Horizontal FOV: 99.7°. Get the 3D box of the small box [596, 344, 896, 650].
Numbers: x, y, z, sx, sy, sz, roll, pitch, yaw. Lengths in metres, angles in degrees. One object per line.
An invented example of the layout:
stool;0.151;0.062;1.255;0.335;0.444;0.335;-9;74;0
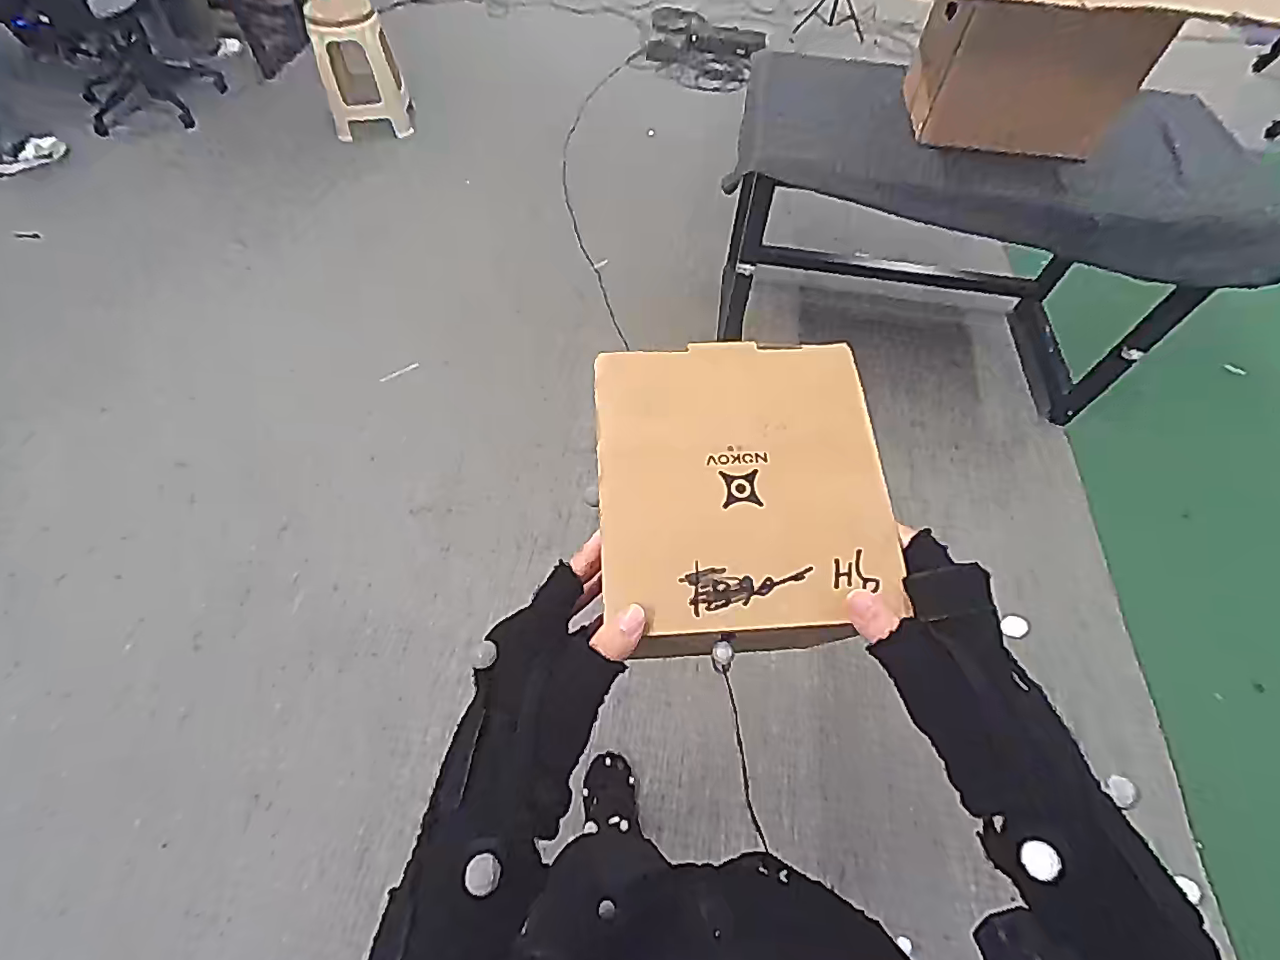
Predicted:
small box;0.053;0.023;0.397;0.168;0.176;0.179;-3;68;-1
